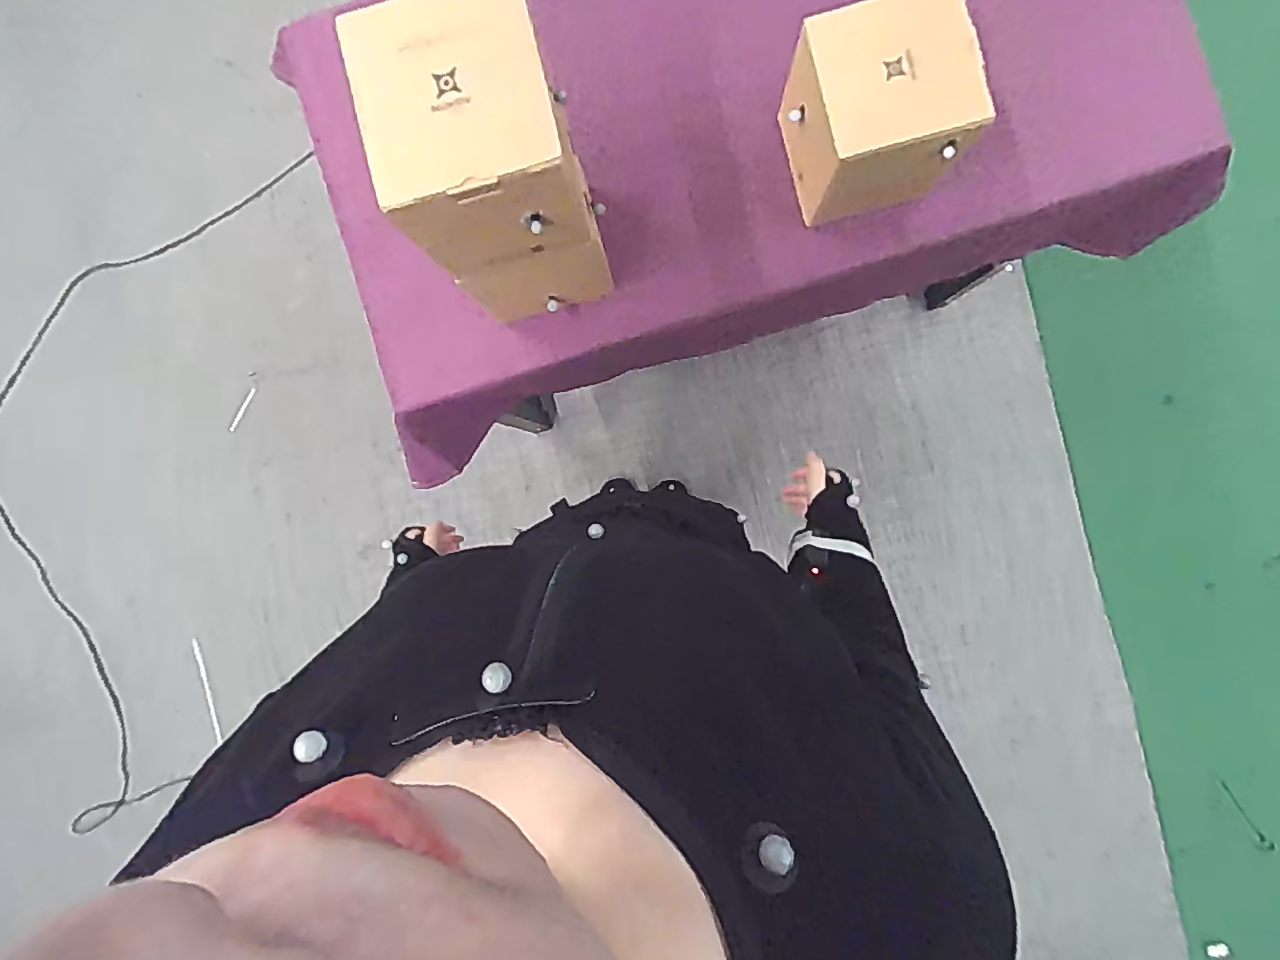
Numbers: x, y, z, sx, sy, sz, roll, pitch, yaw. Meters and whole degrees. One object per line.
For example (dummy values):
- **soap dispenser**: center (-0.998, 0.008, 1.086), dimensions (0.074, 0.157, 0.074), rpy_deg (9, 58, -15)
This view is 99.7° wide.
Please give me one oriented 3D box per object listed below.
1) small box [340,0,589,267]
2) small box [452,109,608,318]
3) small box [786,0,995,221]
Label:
- **small box**: center (-0.156, -0.334, 0.540), dimensions (0.168, 0.176, 0.179), rpy_deg (-13, 89, 4)
- **small box**: center (-0.145, -0.330, 0.704), dimensions (0.179, 0.176, 0.168), rpy_deg (-14, 89, 3)
- **small box**: center (0.290, -0.452, 0.672), dimensions (0.179, 0.176, 0.168), rpy_deg (-13, 90, 4)
